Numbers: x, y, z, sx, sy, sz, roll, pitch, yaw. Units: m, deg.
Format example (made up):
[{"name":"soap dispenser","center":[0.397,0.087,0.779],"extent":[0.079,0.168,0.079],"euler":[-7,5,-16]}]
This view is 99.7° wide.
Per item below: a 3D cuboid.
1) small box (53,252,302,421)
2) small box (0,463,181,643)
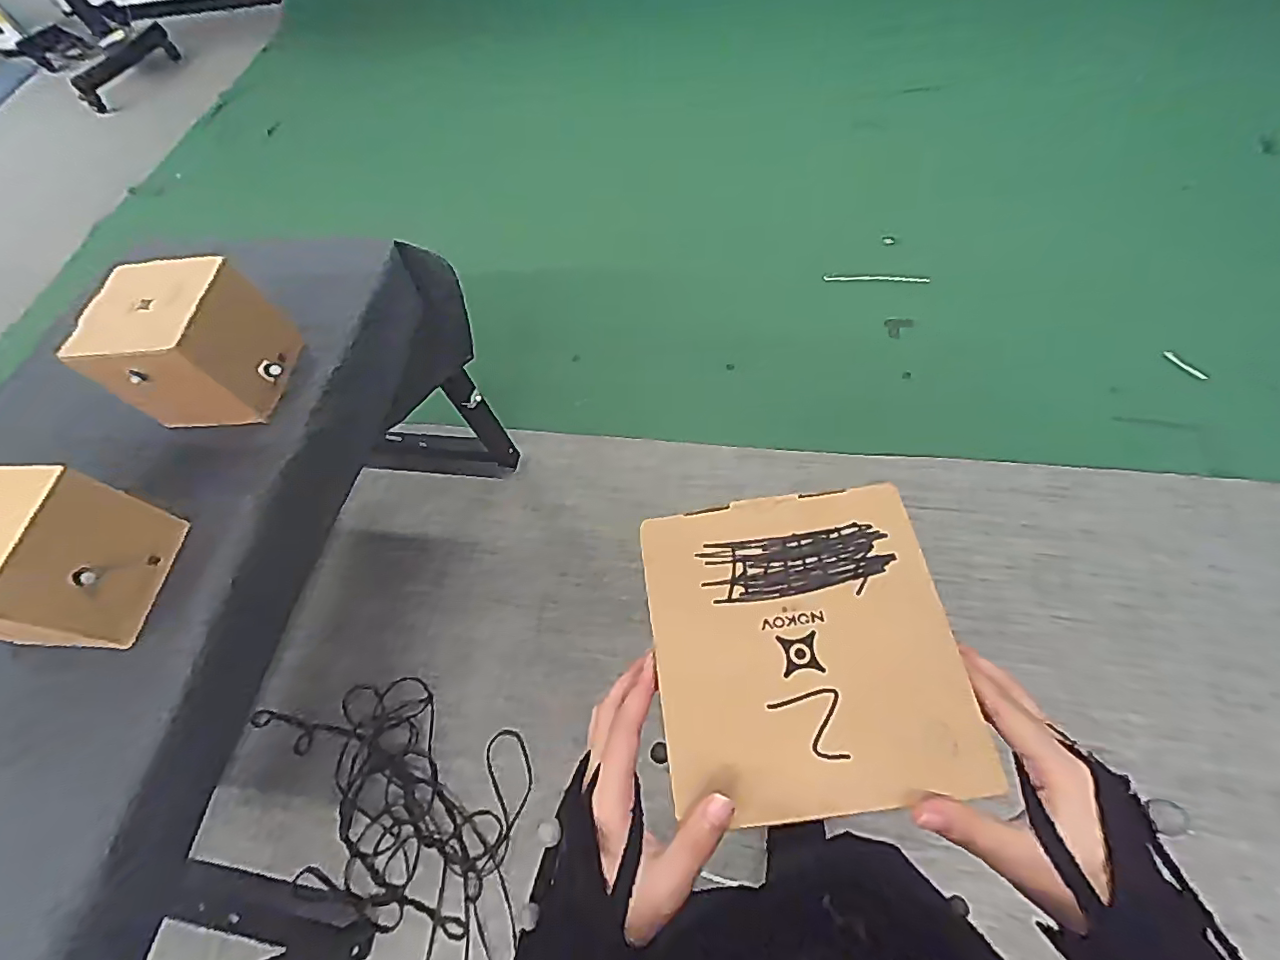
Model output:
[{"name":"small box","center":[-0.638,-0.196,0.772],"extent":[0.179,0.176,0.168],"euler":[-1,63,7]},{"name":"small box","center":[-0.705,0.090,0.630],"extent":[0.179,0.176,0.168],"euler":[0,62,9]}]
